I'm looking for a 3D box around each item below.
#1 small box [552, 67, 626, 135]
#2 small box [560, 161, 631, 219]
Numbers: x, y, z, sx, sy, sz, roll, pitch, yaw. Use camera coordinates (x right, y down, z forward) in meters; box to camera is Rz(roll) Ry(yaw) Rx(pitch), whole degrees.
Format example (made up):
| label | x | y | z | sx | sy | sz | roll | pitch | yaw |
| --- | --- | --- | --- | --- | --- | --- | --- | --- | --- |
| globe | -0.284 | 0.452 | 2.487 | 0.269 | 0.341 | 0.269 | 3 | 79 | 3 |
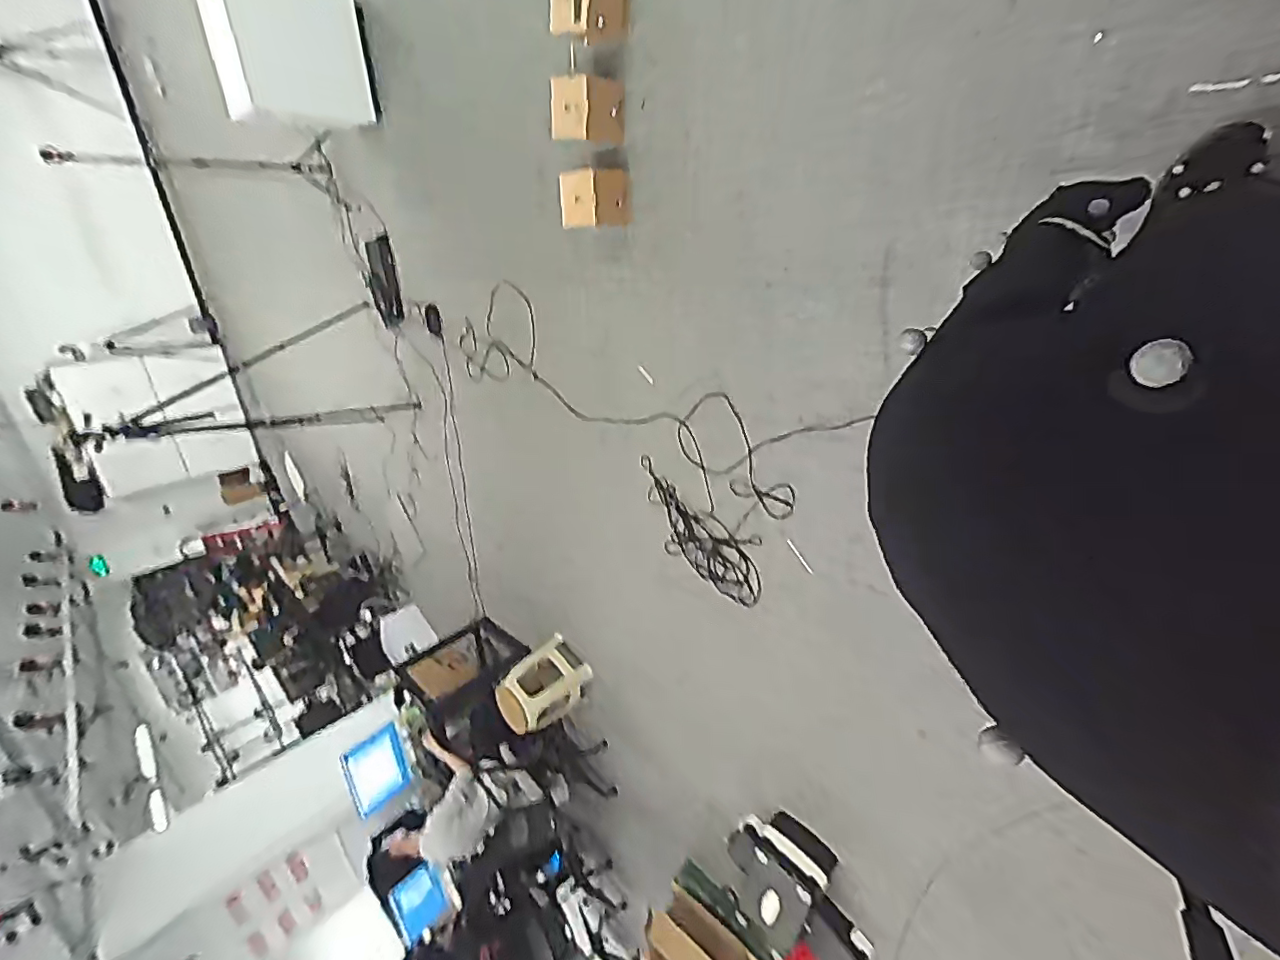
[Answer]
| label | x | y | z | sx | sy | sz | roll | pitch | yaw |
| --- | --- | --- | --- | --- | --- | --- | --- | --- | --- |
| small box | -0.167 | -1.226 | 1.758 | 0.179 | 0.176 | 0.168 | 28 | 128 | 35 |
| small box | -0.150 | -0.991 | 1.860 | 0.179 | 0.176 | 0.168 | 20 | 123 | 39 |
